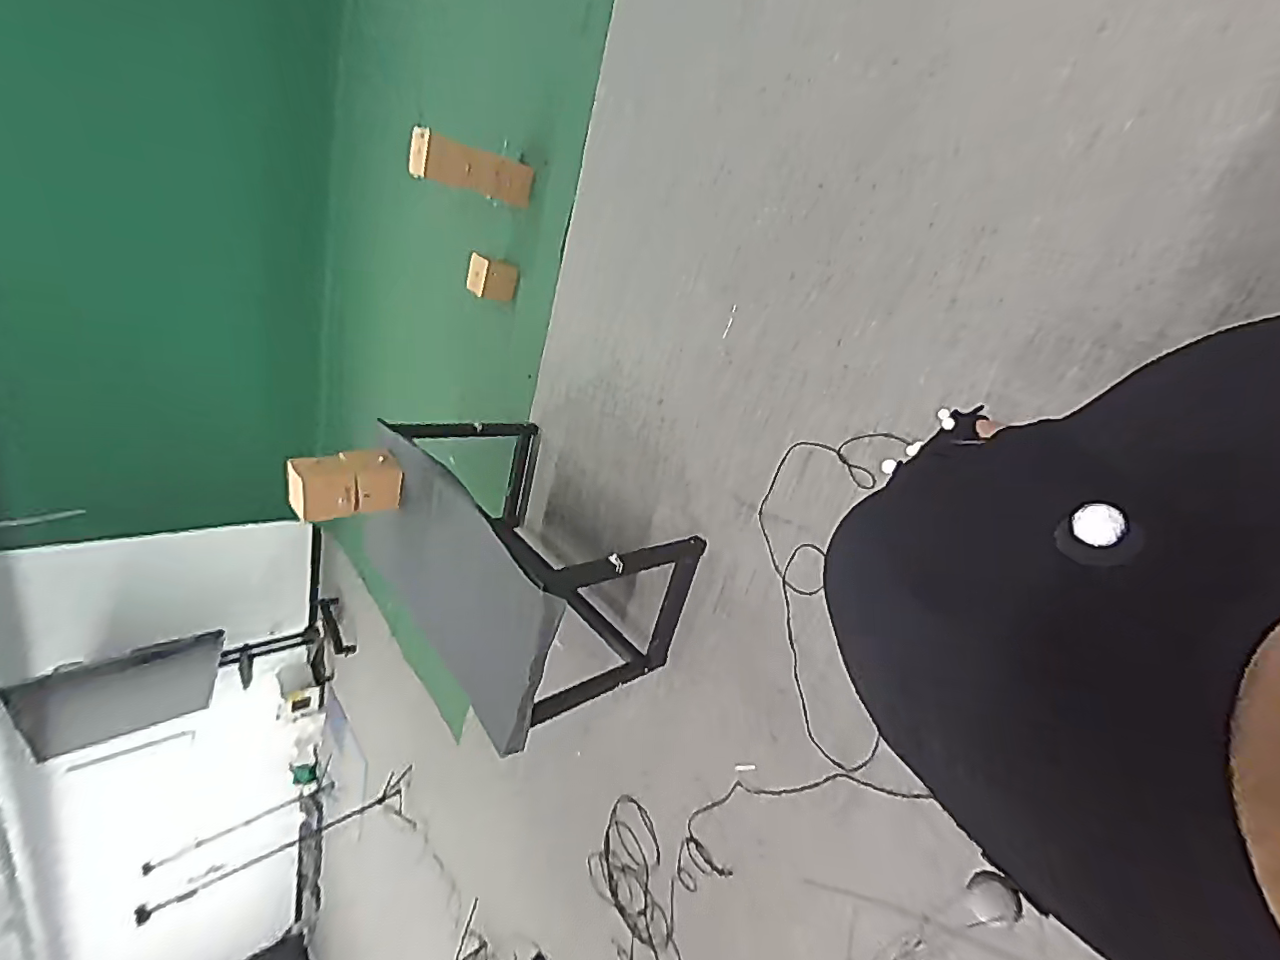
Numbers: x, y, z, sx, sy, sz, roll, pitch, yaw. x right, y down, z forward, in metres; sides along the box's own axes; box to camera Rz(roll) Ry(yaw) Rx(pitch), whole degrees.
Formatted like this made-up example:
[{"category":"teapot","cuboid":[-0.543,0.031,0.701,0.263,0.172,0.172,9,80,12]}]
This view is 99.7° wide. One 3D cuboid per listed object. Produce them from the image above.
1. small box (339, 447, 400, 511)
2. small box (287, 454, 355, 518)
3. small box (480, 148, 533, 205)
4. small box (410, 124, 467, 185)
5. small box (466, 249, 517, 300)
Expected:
[{"category":"small box","cuboid":[-1.012,-0.009,2.018,0.168,0.176,0.179,39,122,34]},{"category":"small box","cuboid":[-1.121,0.014,1.899,0.179,0.176,0.168,30,118,37]},{"category":"small box","cuboid":[-0.618,-1.410,2.516,0.168,0.176,0.179,38,120,35]},{"category":"small box","cuboid":[-0.853,-1.376,2.289,0.168,0.176,0.179,37,120,37]},{"category":"small box","cuboid":[-0.731,-1.011,2.669,0.168,0.176,0.179,41,121,35]}]
